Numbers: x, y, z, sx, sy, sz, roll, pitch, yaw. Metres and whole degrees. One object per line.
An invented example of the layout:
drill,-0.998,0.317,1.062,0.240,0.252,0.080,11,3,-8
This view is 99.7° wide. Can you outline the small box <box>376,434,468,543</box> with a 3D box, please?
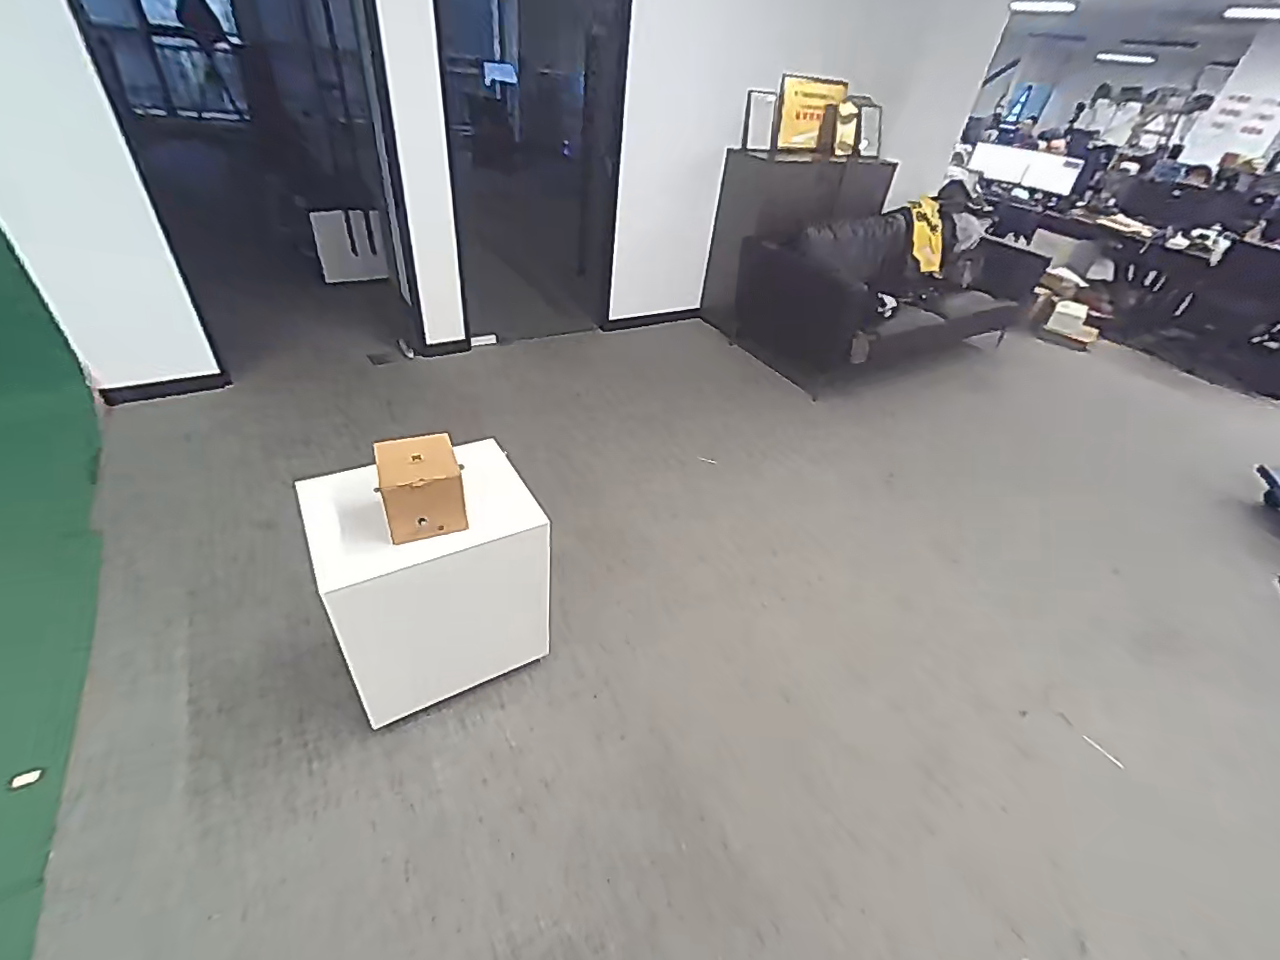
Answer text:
small box,-0.503,0.018,1.251,0.168,0.176,0.179,-12,42,-24
